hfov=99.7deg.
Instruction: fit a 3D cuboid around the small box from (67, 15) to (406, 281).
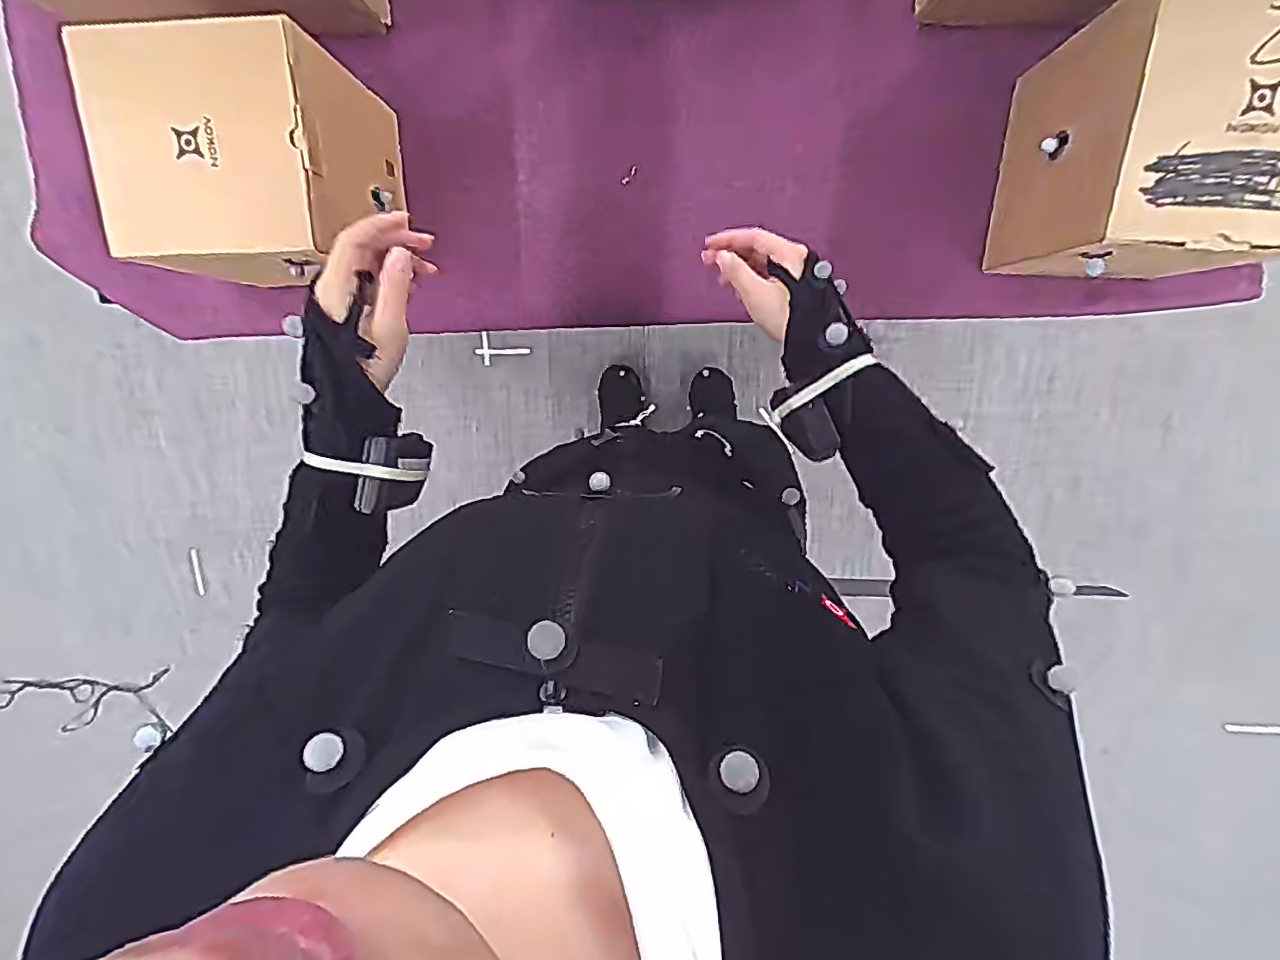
[{"bbox_3d":[-0.347,-0.284,0.504,0.179,0.176,0.168,-1,103,3],"label":"small box"}]
